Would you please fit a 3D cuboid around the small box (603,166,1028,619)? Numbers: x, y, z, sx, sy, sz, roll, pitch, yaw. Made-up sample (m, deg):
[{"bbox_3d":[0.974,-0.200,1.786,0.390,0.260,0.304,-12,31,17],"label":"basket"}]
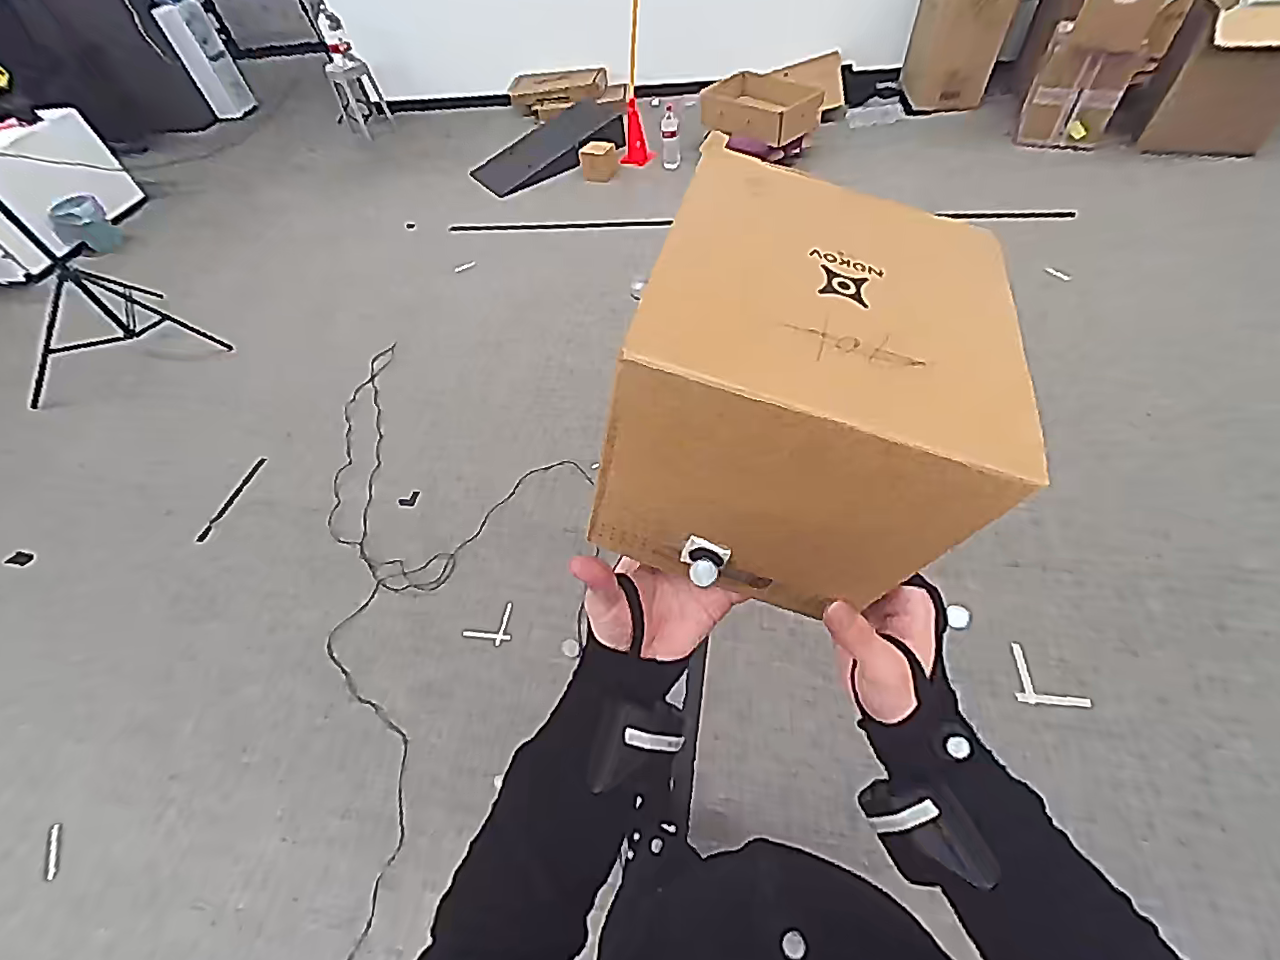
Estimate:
[{"bbox_3d":[0.081,-0.042,0.324,0.168,0.176,0.179,17,57,0],"label":"small box"}]
